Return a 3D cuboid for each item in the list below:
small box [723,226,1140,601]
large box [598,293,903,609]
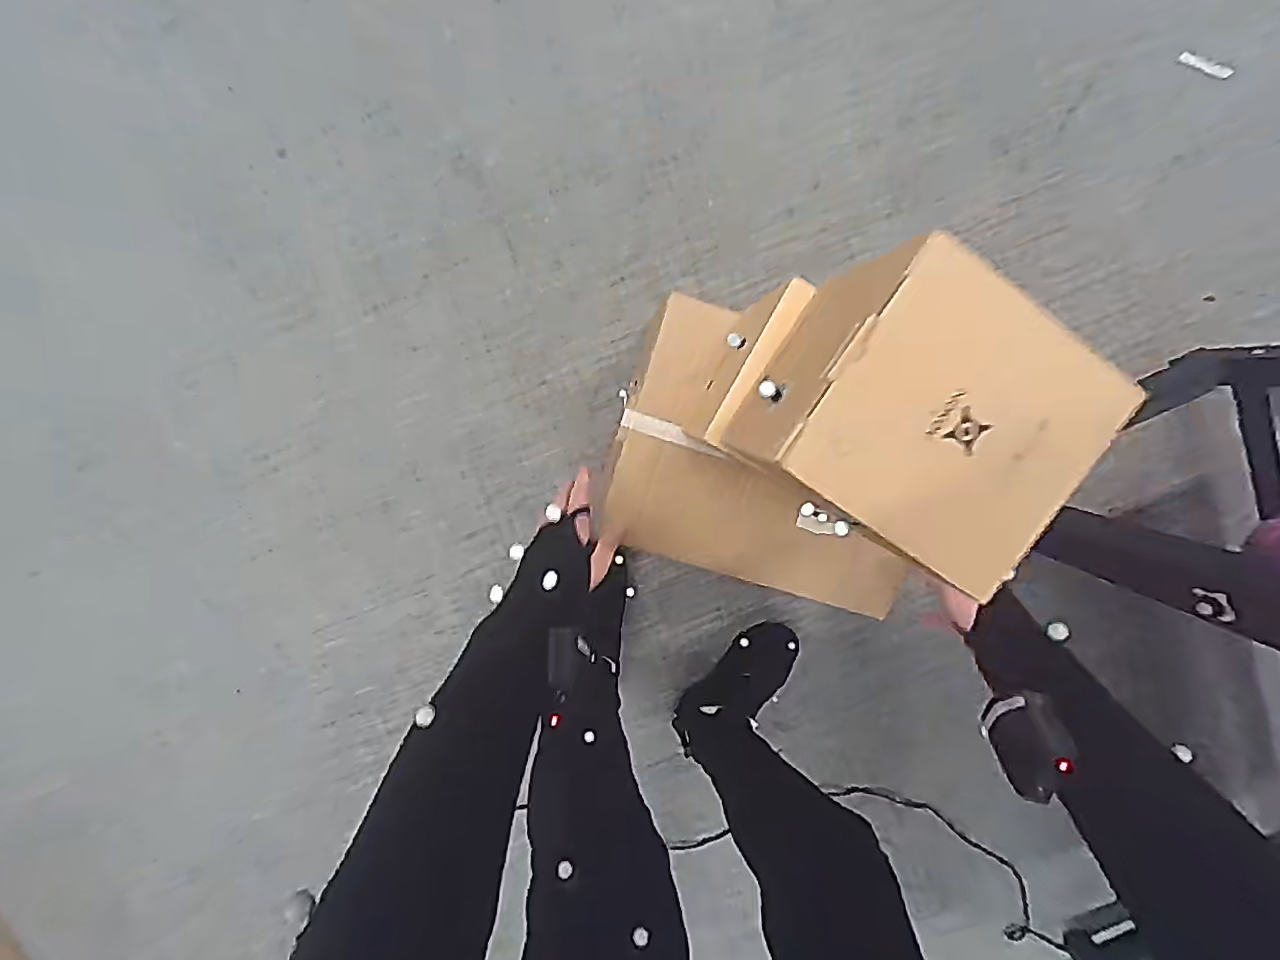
[{"bbox_3d":[0.185,-0.046,0.405,0.179,0.176,0.168,33,97,-9],"label":"small box"},{"bbox_3d":[0.167,-0.050,0.816,0.408,0.320,0.320,16,100,-6],"label":"large box"}]
